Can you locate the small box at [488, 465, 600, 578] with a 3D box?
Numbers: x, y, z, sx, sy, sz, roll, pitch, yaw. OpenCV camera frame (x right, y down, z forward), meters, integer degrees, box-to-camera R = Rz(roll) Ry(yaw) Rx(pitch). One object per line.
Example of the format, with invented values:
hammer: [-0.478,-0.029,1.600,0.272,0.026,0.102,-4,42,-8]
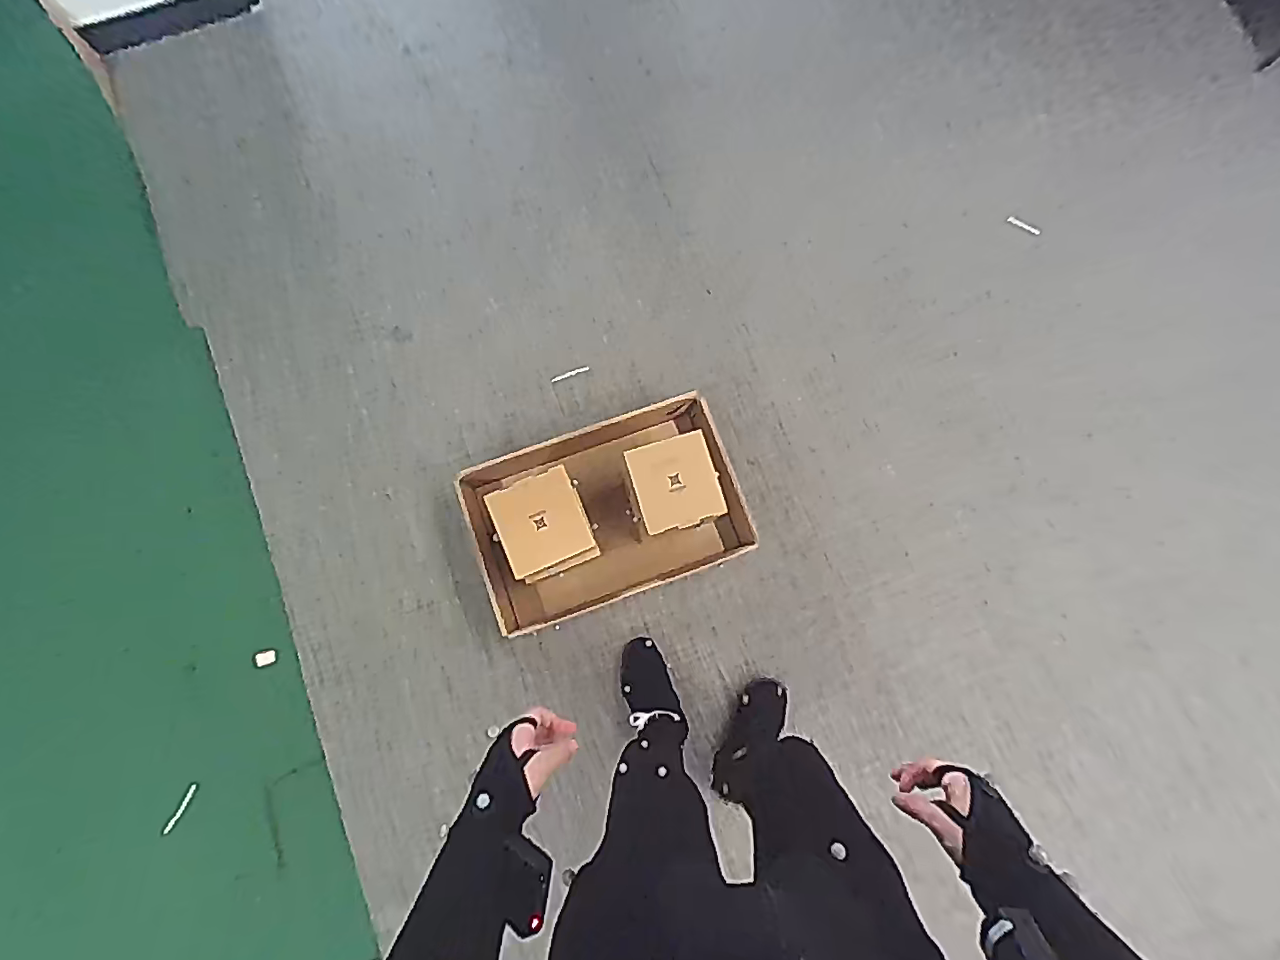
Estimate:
small box: [-0.189,0.090,1.119,0.168,0.176,0.179,-23,81,-6]

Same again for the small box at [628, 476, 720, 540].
small box: [0.075,0.043,1.297,0.179,0.176,0.168,-16,81,-3]

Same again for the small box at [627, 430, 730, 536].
small box: [0.074,0.015,1.137,0.168,0.176,0.179,-16,81,-5]
